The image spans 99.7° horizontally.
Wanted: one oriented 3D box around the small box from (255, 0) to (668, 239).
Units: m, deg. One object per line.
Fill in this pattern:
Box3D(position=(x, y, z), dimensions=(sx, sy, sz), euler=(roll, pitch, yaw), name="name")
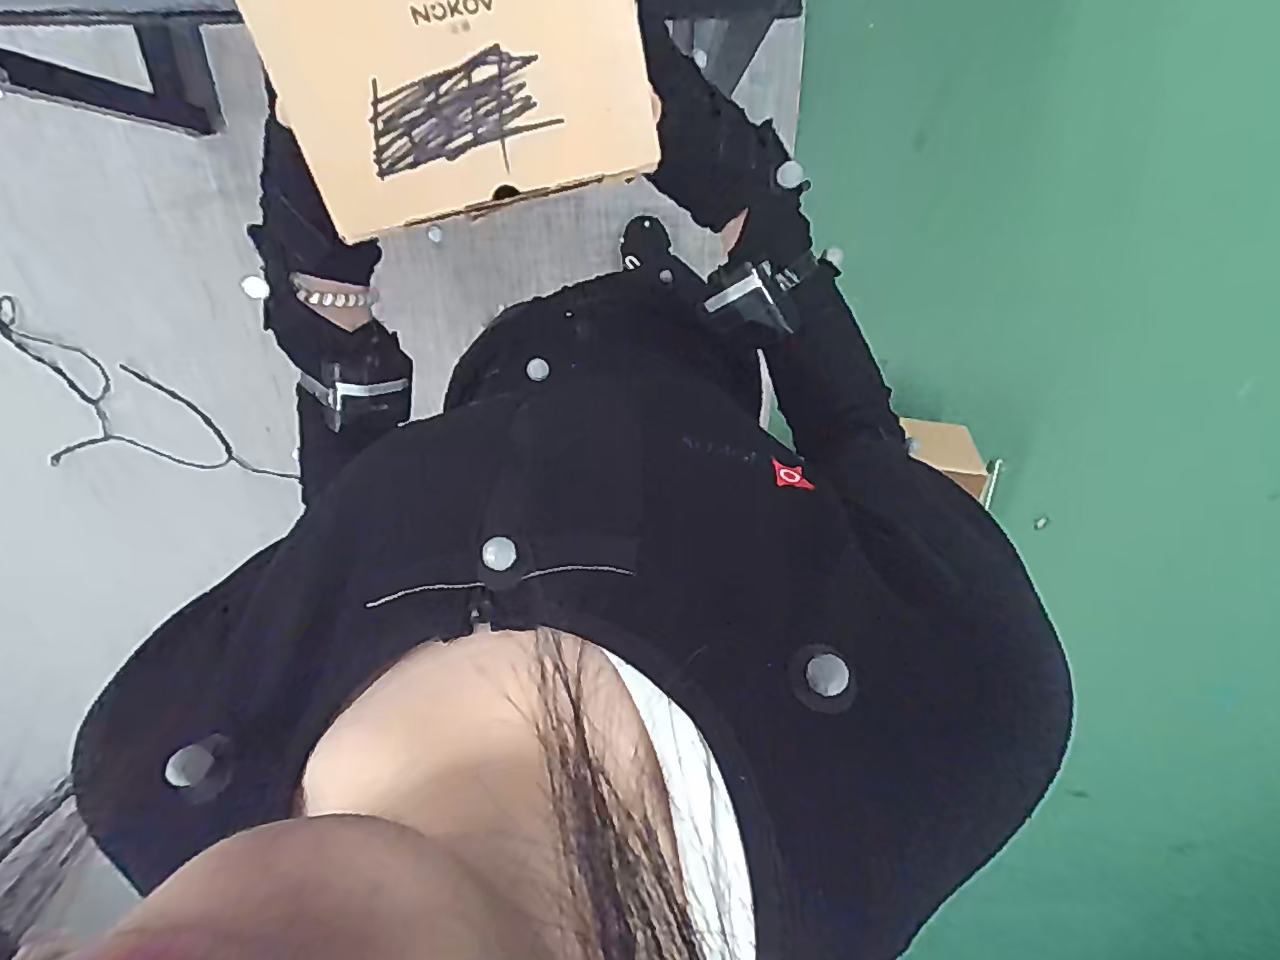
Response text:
Box3D(position=(-0.098, -0.249, 0.298), dimensions=(0.168, 0.176, 0.179), euler=(-18, 120, -8), name="small box")
